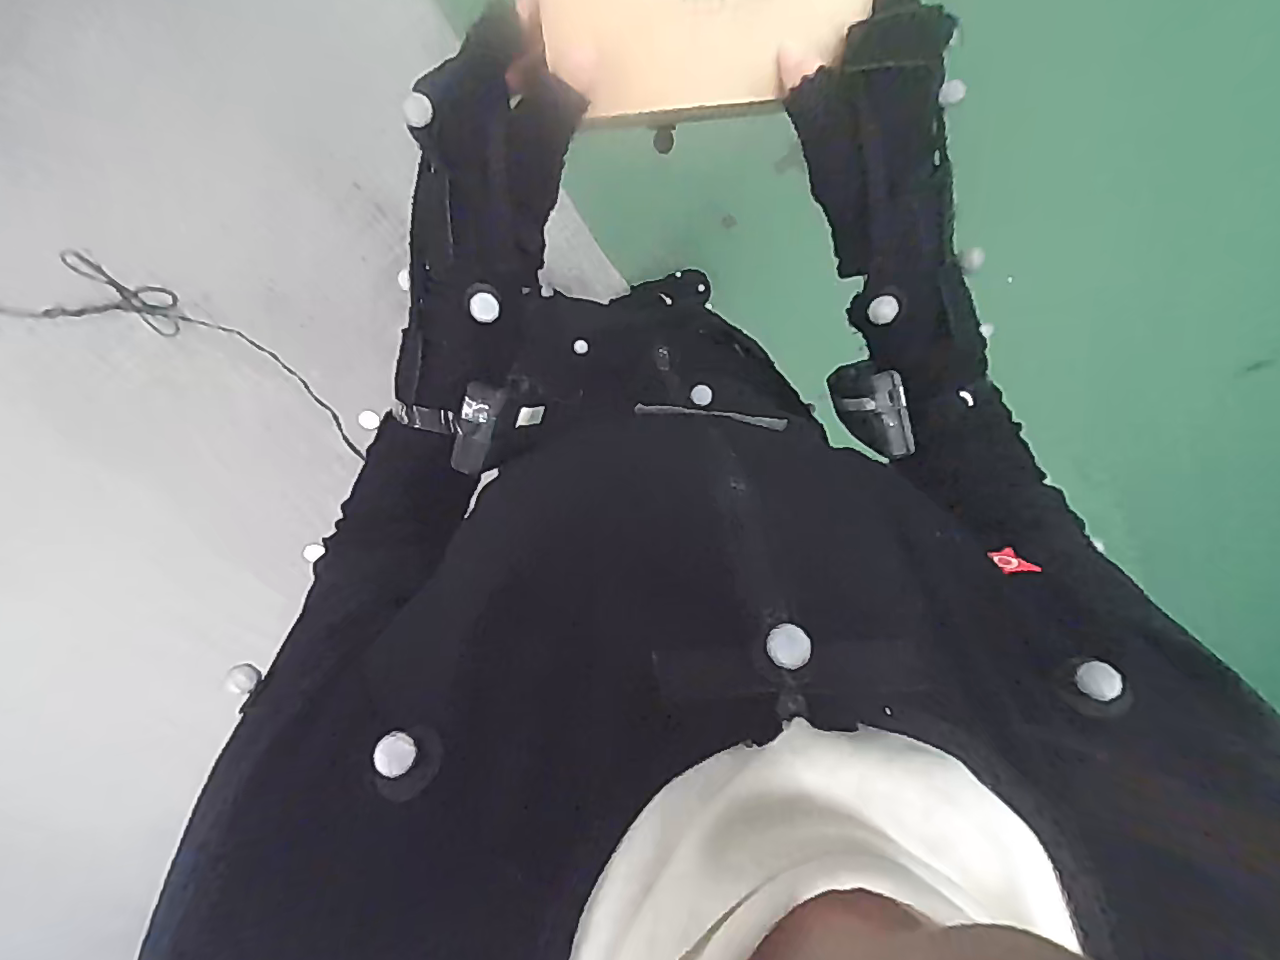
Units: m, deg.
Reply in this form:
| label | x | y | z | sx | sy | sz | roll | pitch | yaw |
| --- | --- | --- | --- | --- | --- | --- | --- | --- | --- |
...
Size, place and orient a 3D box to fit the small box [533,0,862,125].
| label | x | y | z | sx | sy | sz | roll | pitch | yaw |
| --- | --- | --- | --- | --- | --- | --- | --- | --- | --- |
| small box | 0.020 | -0.318 | 0.310 | 0.168 | 0.176 | 0.179 | -6 | 122 | 1 |
